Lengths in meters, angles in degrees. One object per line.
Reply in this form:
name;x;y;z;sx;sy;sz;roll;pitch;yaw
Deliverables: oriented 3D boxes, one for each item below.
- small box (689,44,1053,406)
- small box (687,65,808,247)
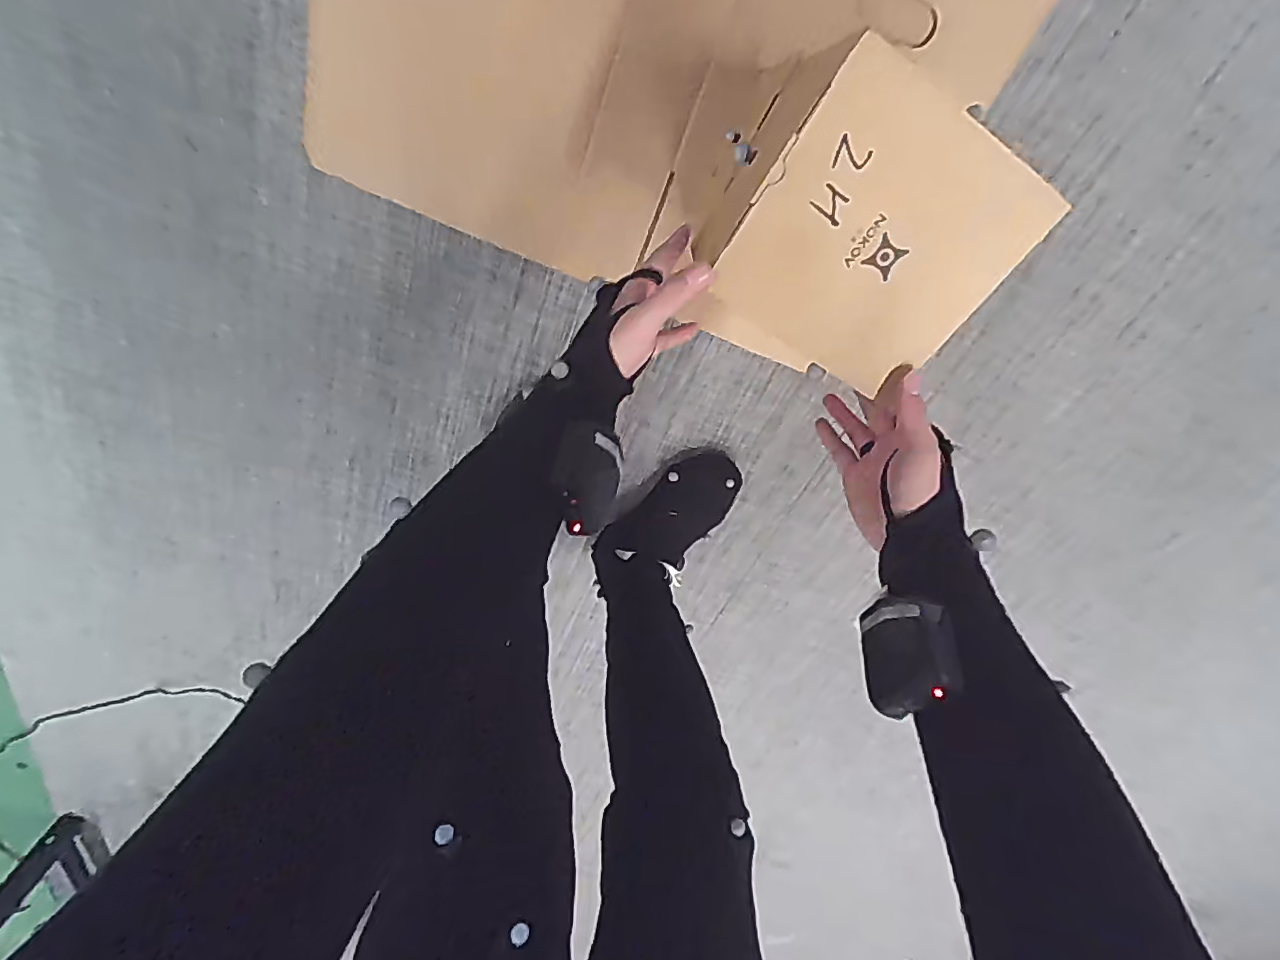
small box;0.155;-0.195;0.429;0.179;0.176;0.168;28;119;-14
small box;0.163;-0.290;0.564;0.179;0.176;0.168;25;120;-12
